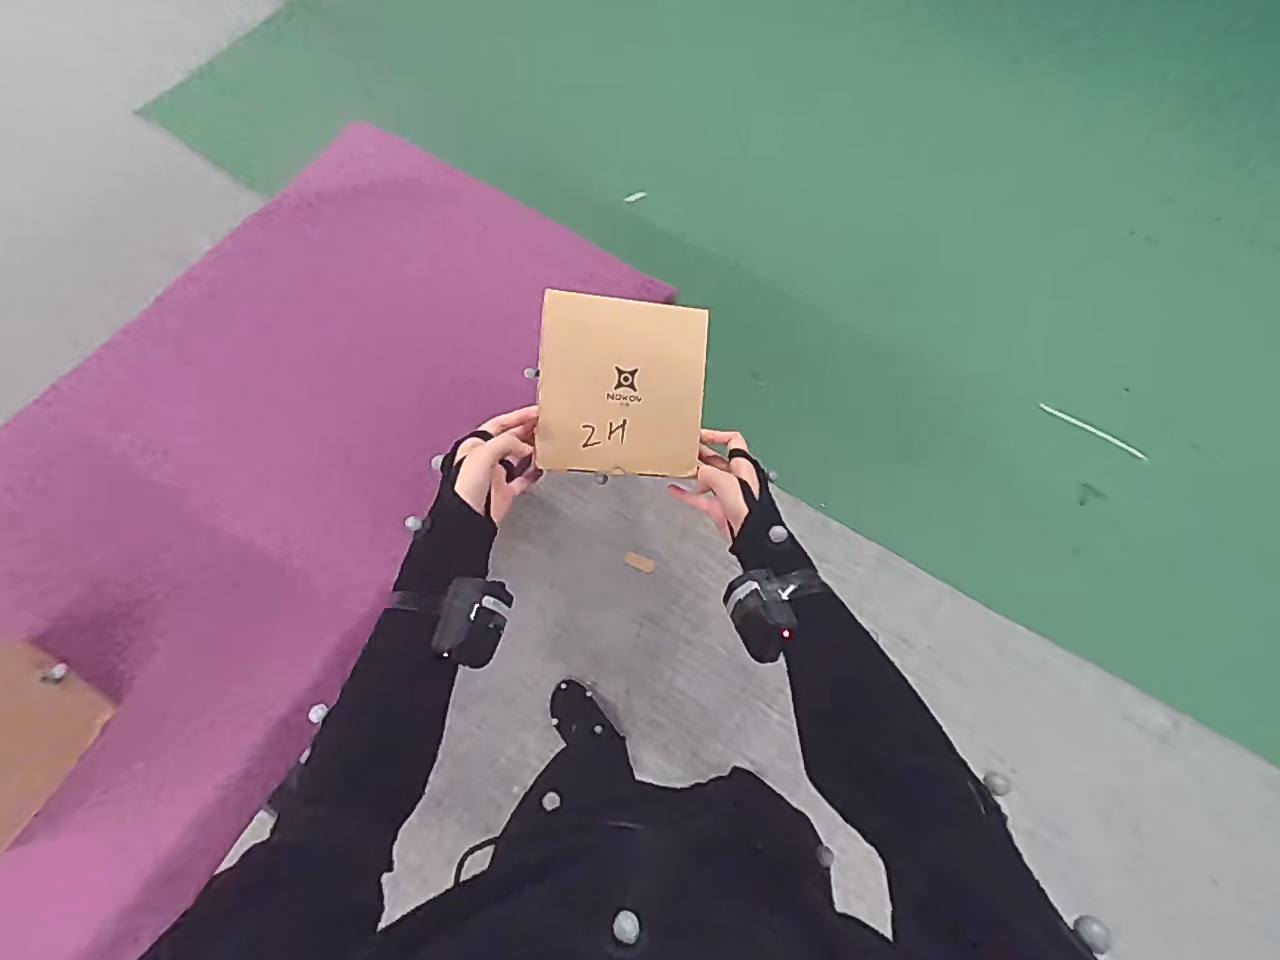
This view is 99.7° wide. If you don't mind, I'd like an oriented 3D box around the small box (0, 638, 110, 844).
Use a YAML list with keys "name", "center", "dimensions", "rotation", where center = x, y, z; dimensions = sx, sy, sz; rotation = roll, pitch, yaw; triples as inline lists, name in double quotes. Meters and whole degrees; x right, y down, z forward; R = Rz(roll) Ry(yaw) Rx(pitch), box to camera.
- name: "small box"
  center: [-0.733, 0.276, 0.559]
  dimensions: [0.168, 0.176, 0.179]
  rotation: [27, 72, 8]
